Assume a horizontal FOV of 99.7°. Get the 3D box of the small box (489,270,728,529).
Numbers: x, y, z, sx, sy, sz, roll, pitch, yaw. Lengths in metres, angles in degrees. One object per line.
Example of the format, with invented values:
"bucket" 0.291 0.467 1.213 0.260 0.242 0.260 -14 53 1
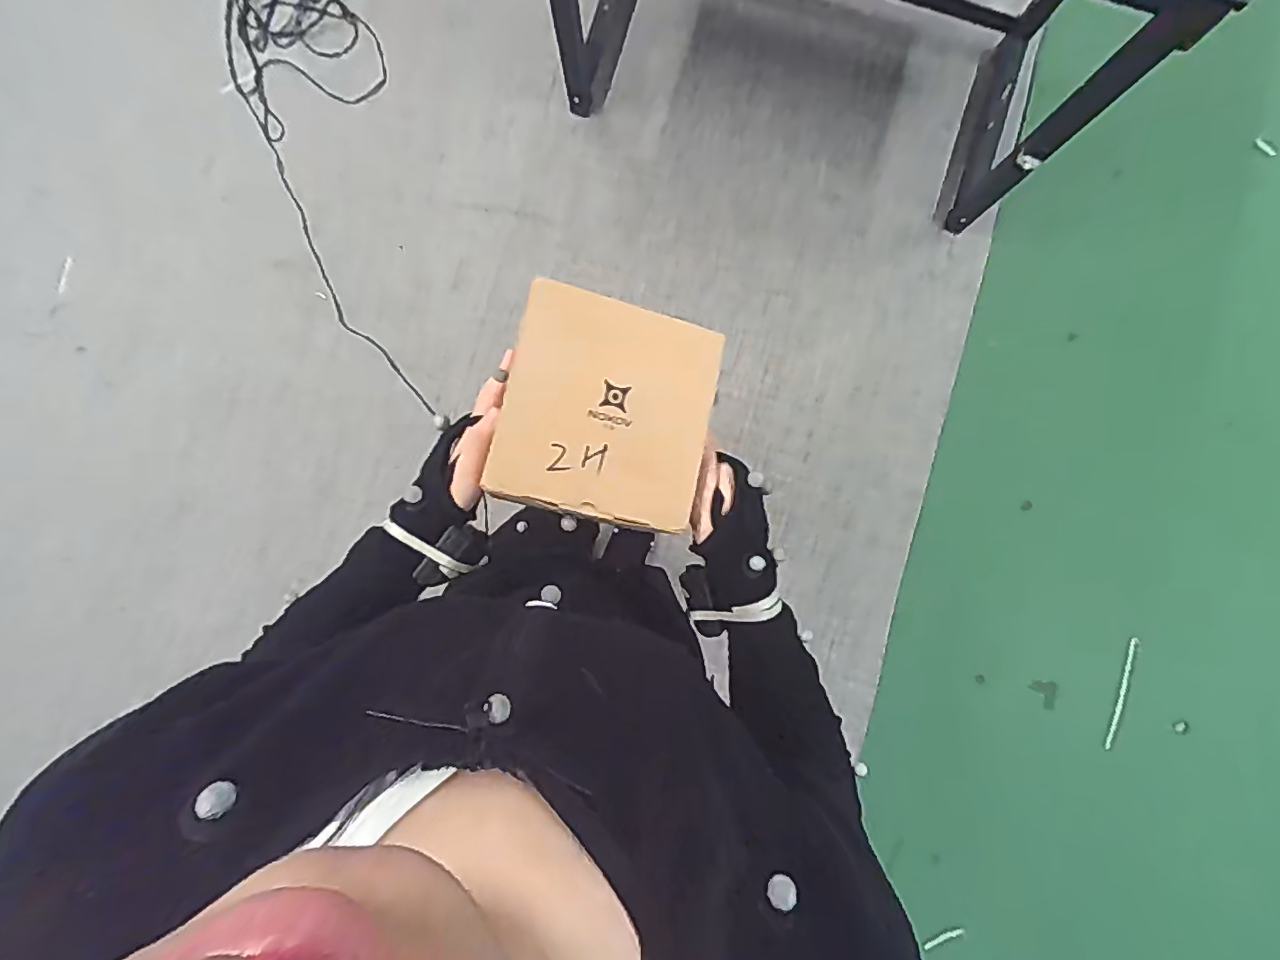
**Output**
"small box" -0.038 -0.056 0.505 0.168 0.176 0.179 14 82 -12
